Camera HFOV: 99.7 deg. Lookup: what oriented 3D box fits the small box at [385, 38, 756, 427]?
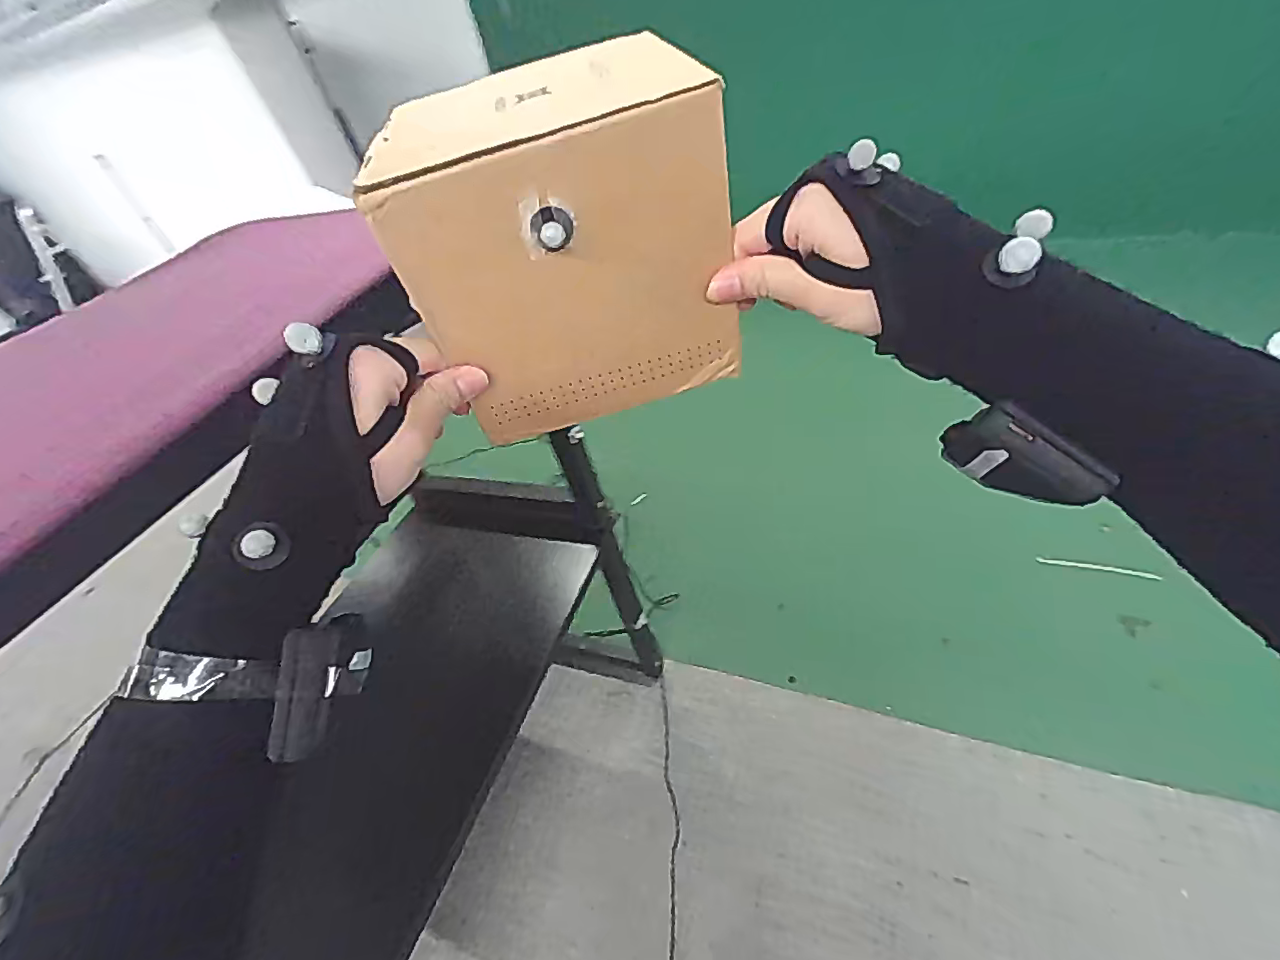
[{"bbox_3d":[-0.033,-0.159,0.362,0.179,0.176,0.168,-15,46,2],"label":"small box"}]
